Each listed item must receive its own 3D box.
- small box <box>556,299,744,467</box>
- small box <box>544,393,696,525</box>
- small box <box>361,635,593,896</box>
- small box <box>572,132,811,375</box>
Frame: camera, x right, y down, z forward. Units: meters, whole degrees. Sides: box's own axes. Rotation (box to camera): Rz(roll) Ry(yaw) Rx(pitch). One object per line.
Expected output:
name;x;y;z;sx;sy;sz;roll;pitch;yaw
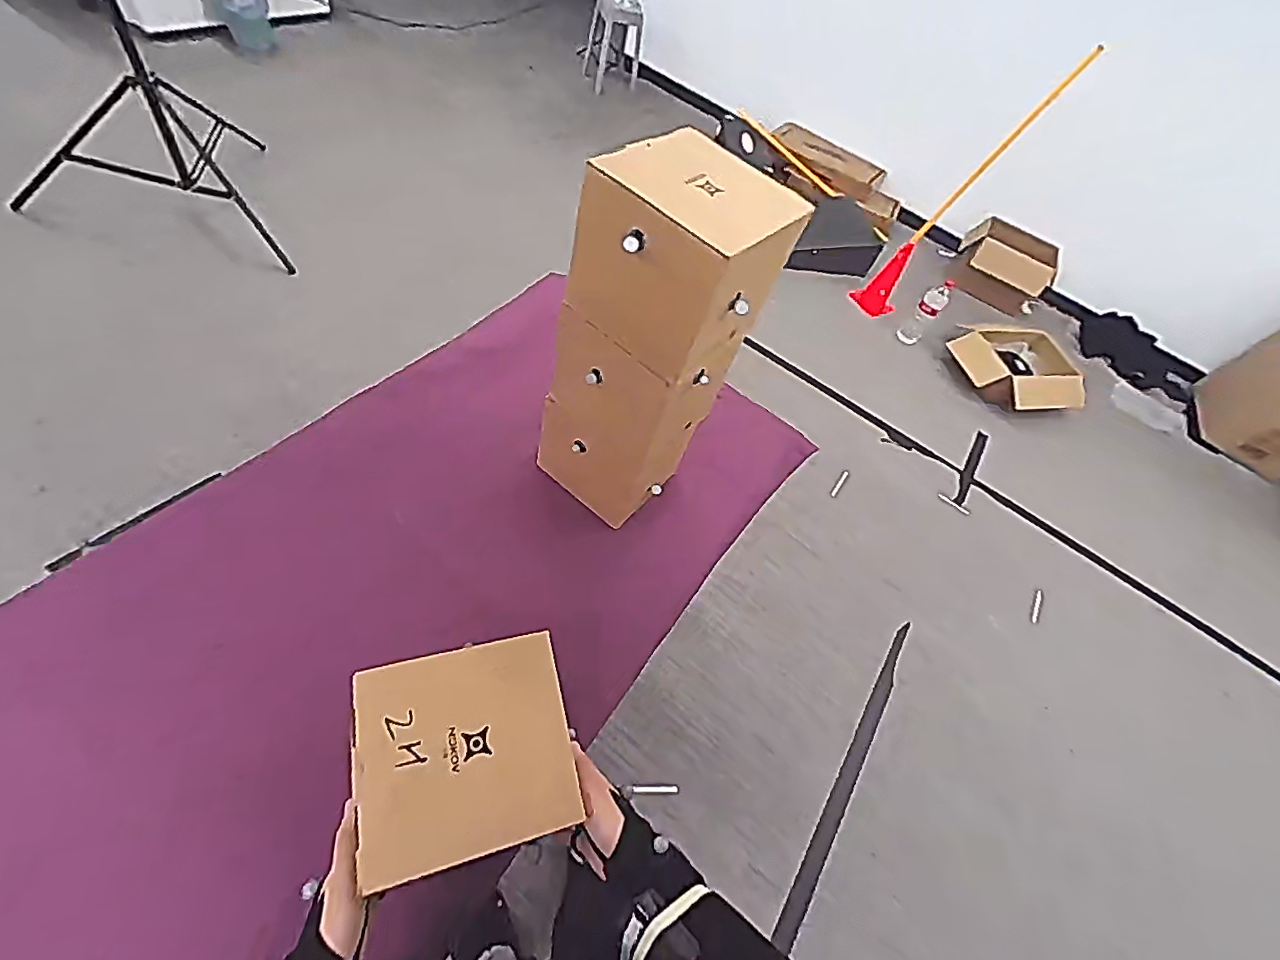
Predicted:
small box;0.004;-0.151;0.726;0.179;0.176;0.168;39;55;14
small box;-0.035;-0.061;0.857;0.179;0.176;0.168;38;55;12
small box;-0.156;0.268;0.525;0.179;0.176;0.168;-8;60;-18
small box;0.046;-0.240;0.595;0.179;0.176;0.168;39;55;14
